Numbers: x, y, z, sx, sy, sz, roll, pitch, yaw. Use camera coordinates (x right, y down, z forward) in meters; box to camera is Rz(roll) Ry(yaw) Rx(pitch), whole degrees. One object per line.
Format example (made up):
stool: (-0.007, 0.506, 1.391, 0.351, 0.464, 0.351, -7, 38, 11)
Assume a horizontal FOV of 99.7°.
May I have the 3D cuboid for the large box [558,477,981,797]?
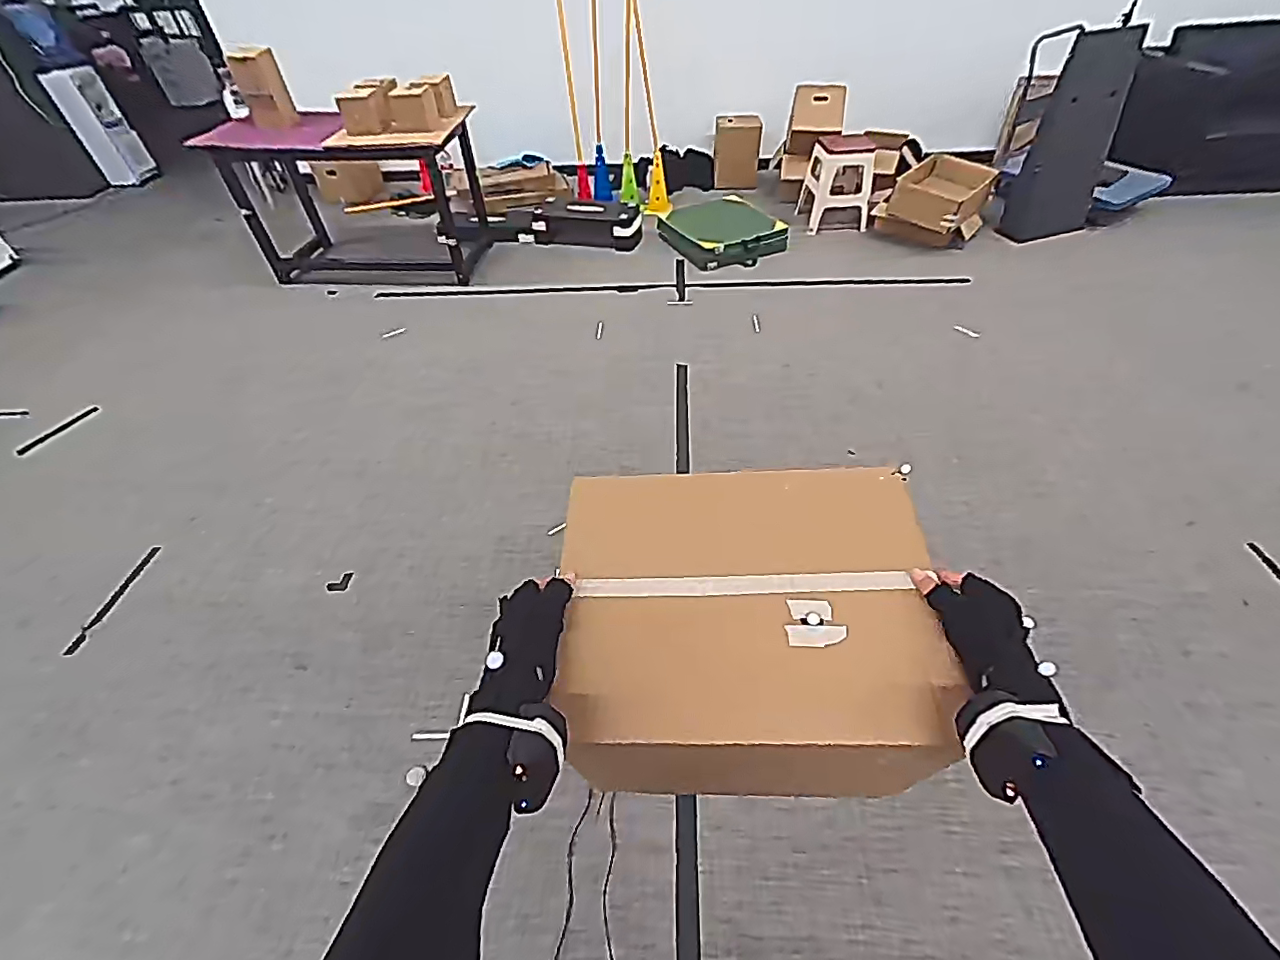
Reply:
large box: (0.129, 0.217, 0.713, 0.408, 0.320, 0.320, -2, 53, 5)
